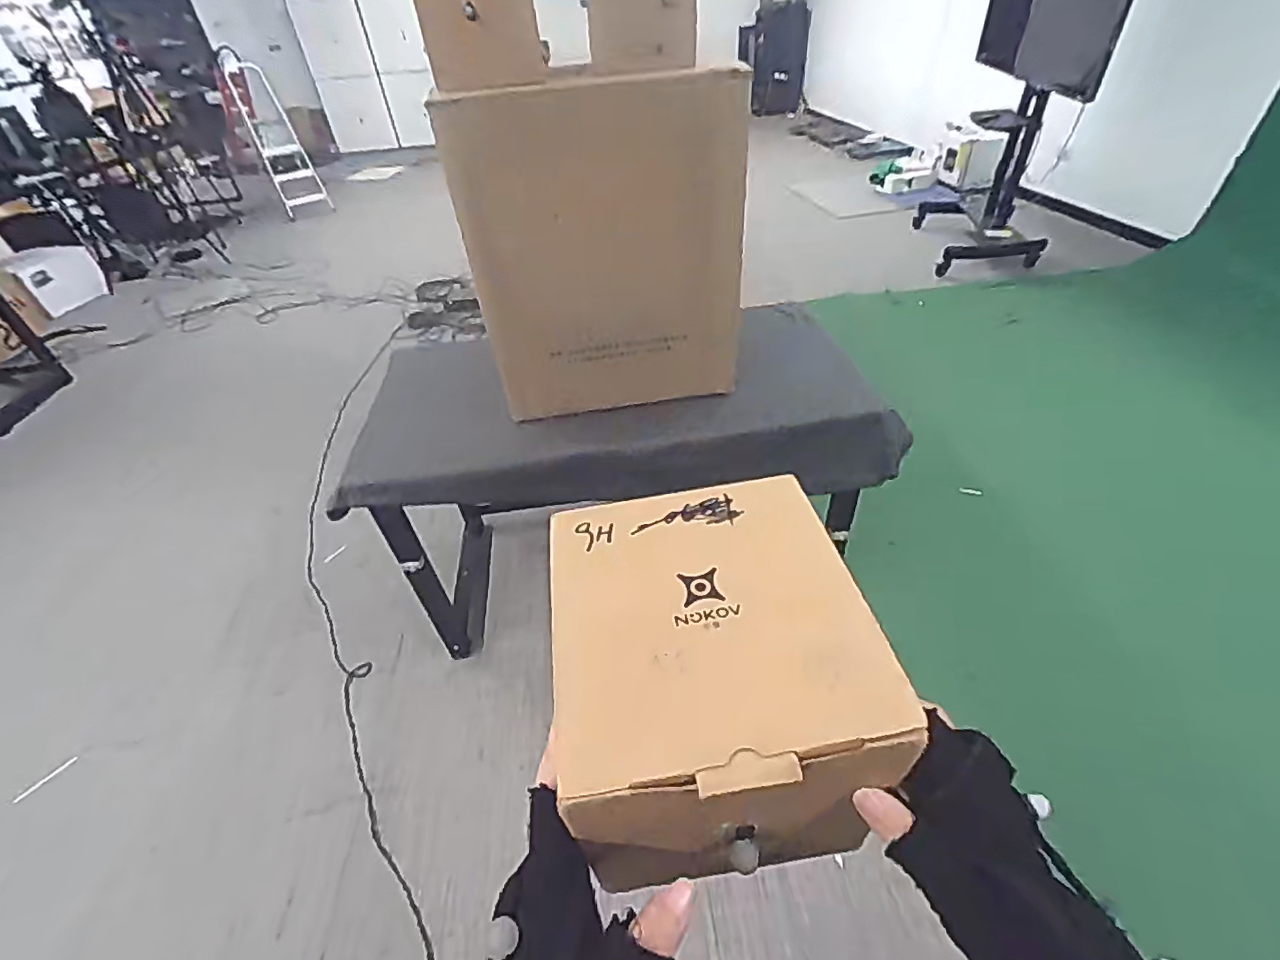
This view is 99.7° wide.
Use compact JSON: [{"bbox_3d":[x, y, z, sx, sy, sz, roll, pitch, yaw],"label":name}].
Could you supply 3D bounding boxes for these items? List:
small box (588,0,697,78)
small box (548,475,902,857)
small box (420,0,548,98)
[{"bbox_3d":[0.001,-0.777,0.892,0.168,0.176,0.179,-7,42,-4],"label":"small box"},{"bbox_3d":[0.038,0.125,0.356,0.168,0.176,0.179,-9,44,-2],"label":"small box"},{"bbox_3d":[-0.246,-0.734,0.868,0.179,0.176,0.168,-10,44,-6],"label":"small box"}]
